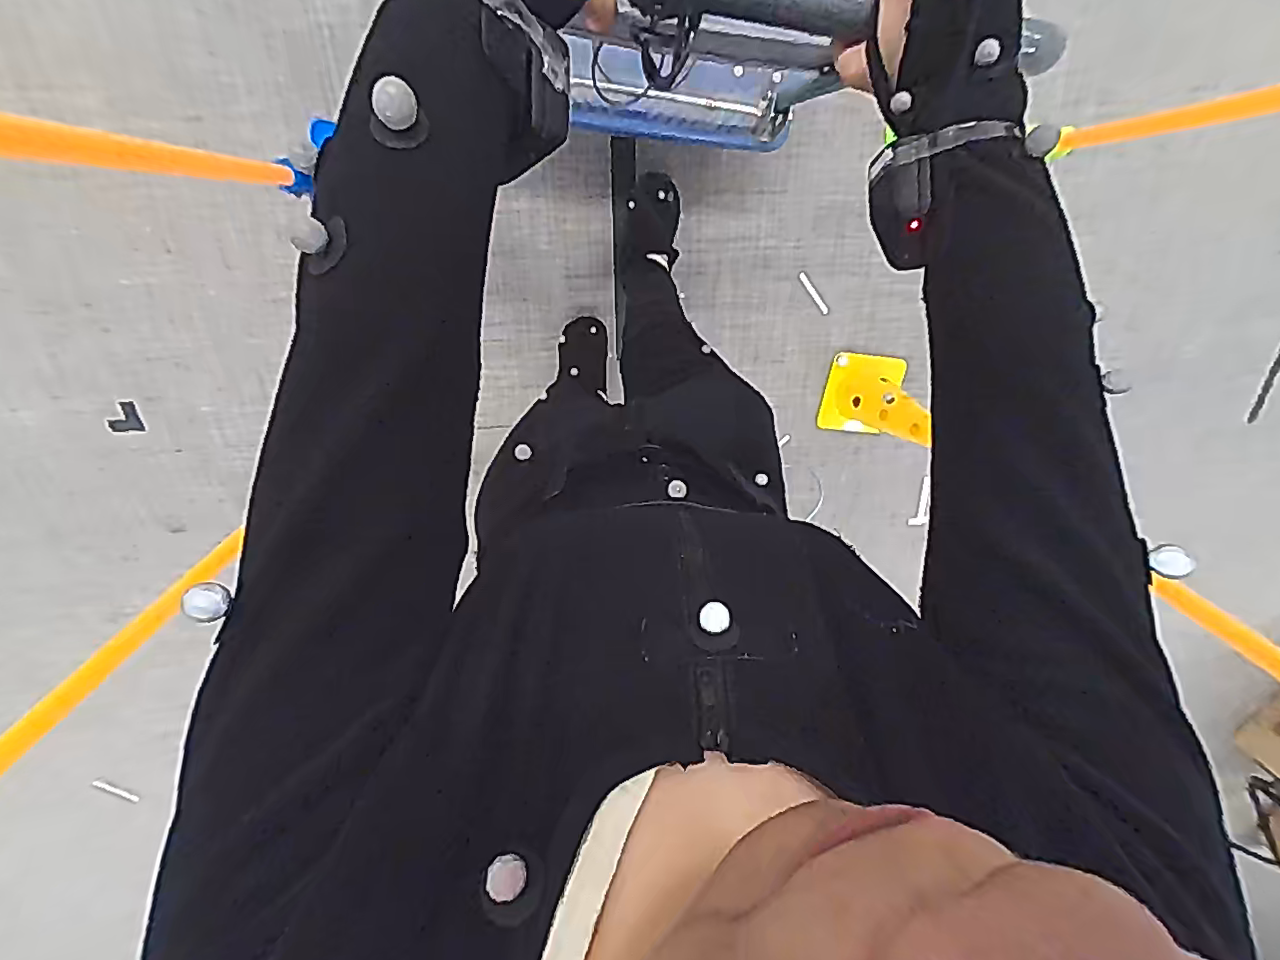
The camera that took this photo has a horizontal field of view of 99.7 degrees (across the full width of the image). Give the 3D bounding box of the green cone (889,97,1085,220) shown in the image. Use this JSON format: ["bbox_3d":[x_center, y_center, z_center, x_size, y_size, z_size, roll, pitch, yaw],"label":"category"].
[{"bbox_3d":[0.655,-0.610,1.009,0.200,0.368,0.202,-16,118,0],"label":"green cone"}]
